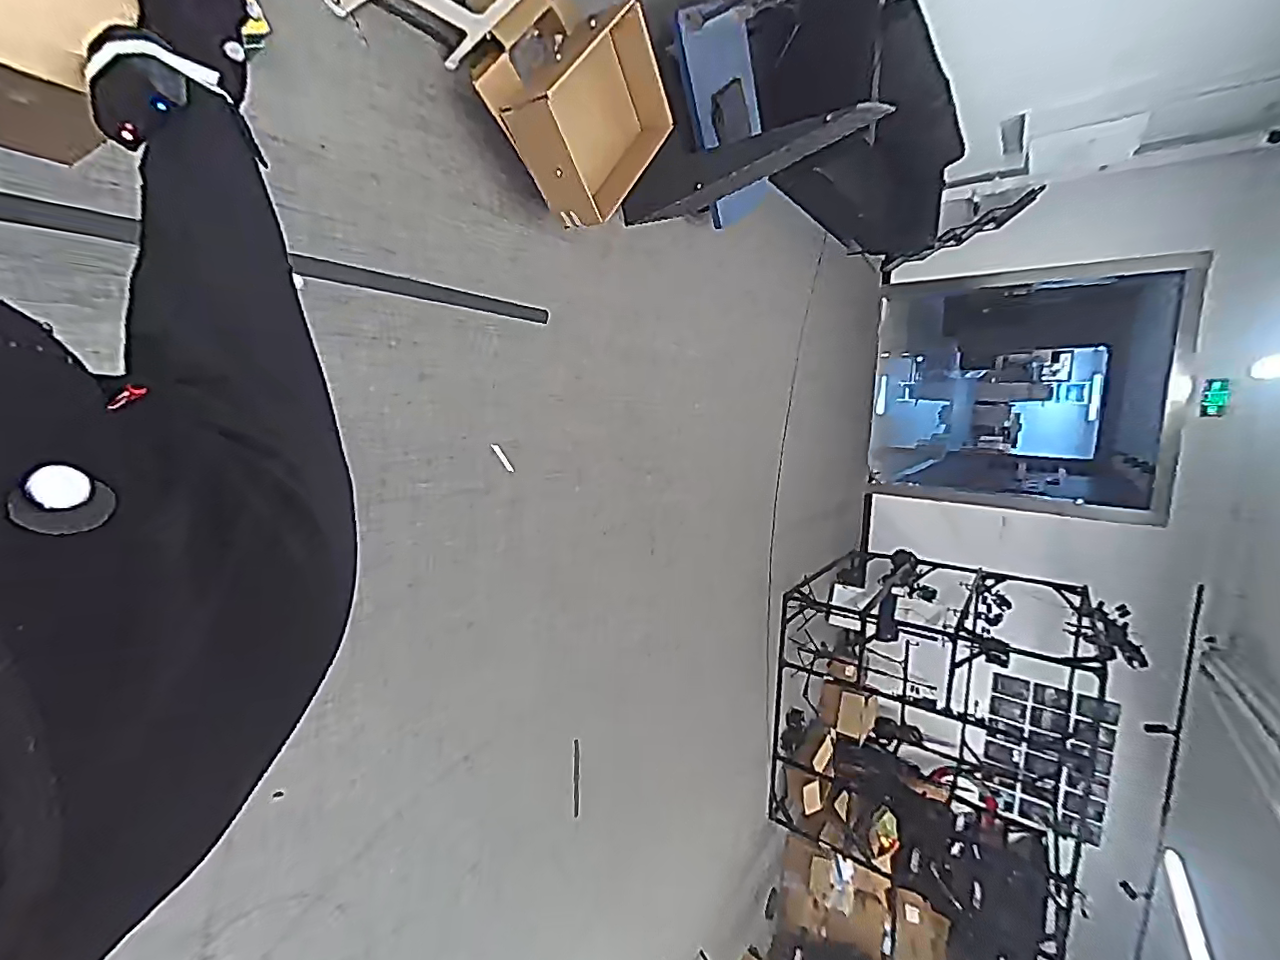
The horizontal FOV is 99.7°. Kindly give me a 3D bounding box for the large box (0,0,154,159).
[{"bbox_3d":[-0.613,-0.455,0.331,0.408,0.320,0.320,-8,108,-54],"label":"large box"}]
